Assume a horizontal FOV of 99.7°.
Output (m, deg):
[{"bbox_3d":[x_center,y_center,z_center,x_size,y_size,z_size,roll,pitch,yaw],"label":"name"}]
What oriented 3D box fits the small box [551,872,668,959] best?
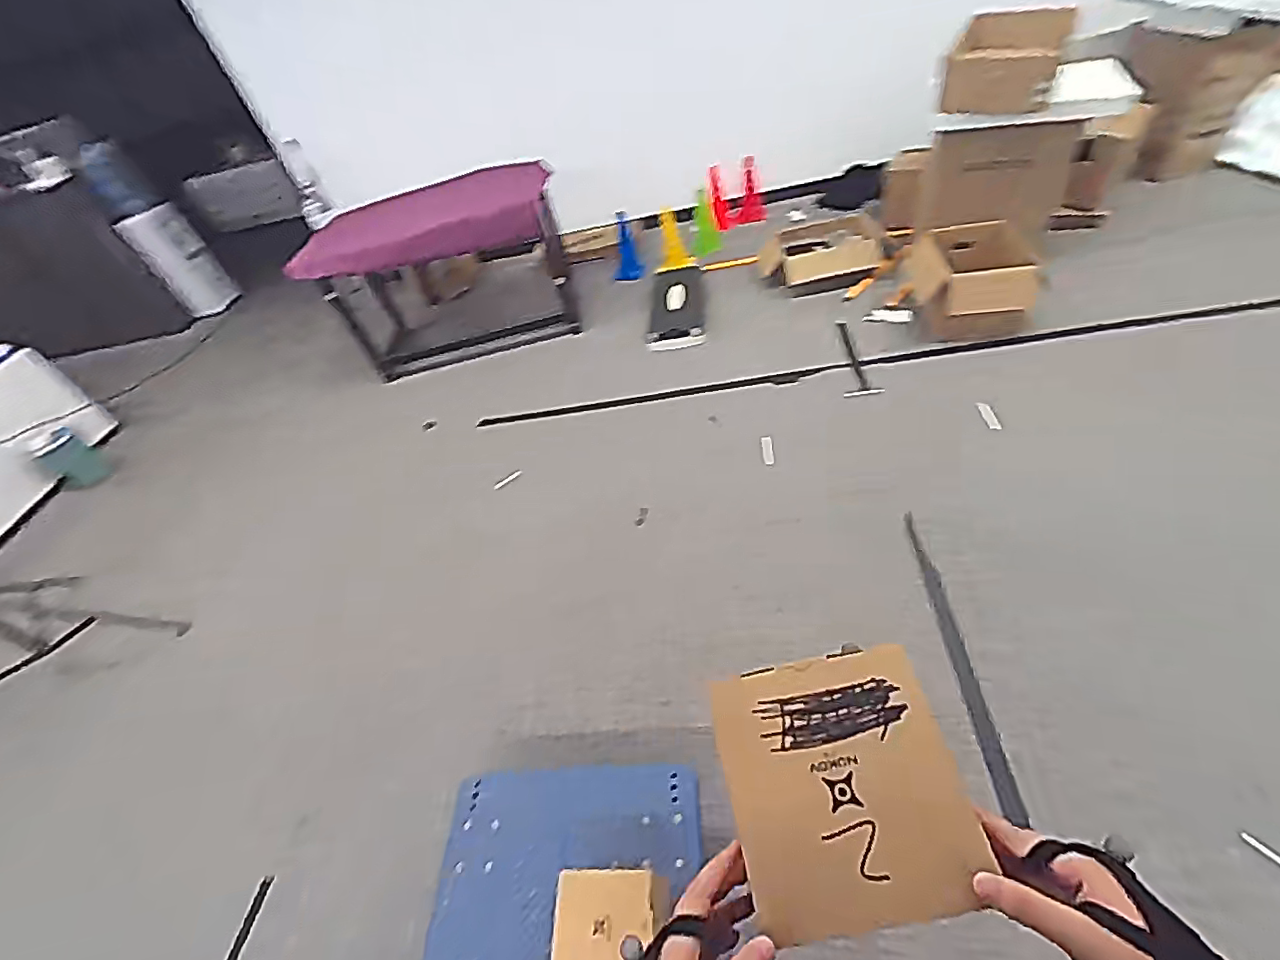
[{"bbox_3d":[-0.050,0.830,0.986,0.179,0.176,0.168,-8,46,9],"label":"small box"}]
